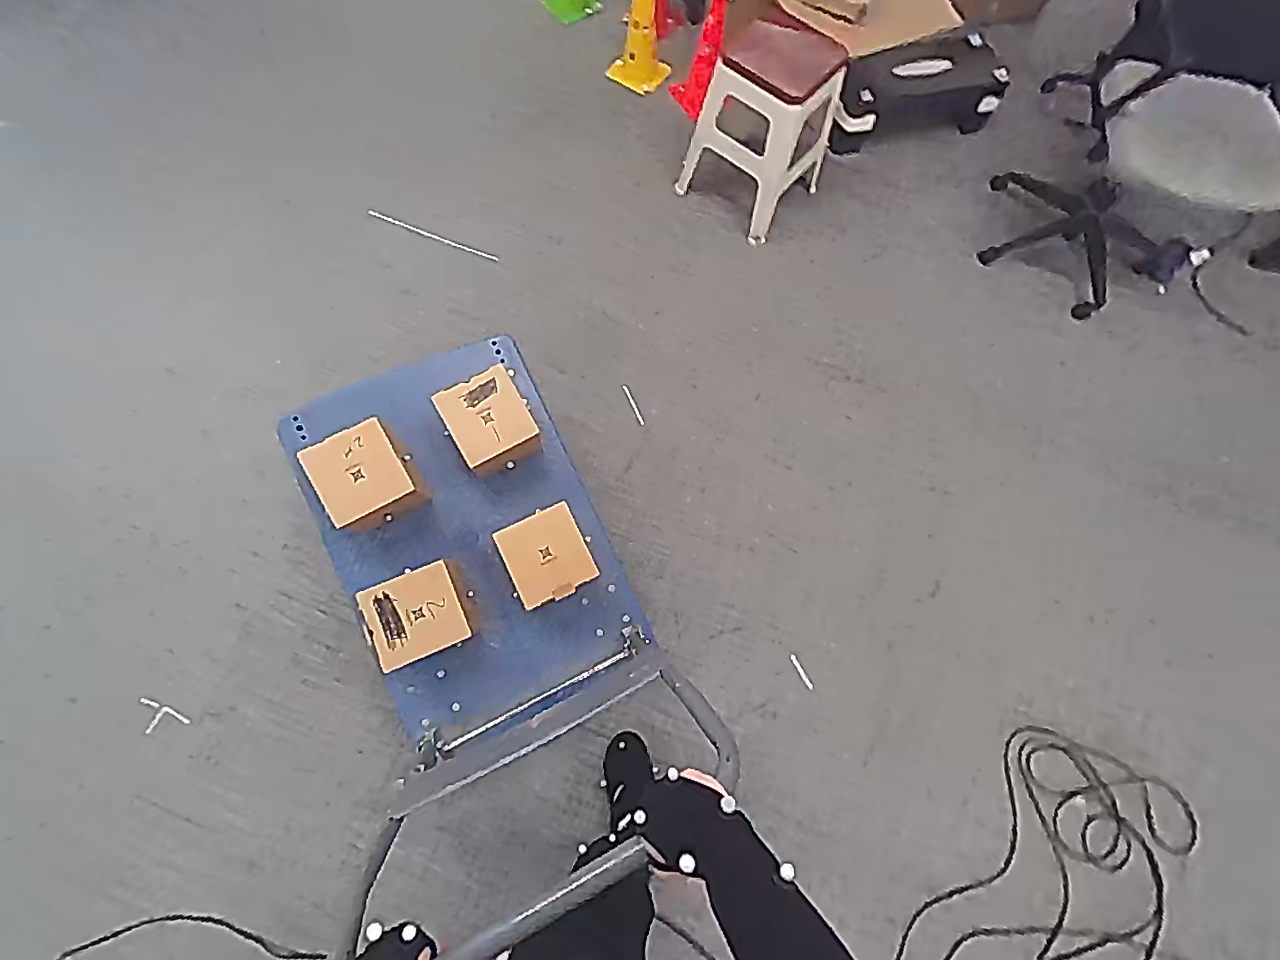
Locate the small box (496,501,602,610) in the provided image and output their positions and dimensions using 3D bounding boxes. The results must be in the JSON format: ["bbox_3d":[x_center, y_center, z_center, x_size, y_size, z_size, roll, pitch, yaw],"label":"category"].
[{"bbox_3d":[-0.200,0.165,1.184,0.168,0.176,0.179,-25,87,-12],"label":"small box"}]

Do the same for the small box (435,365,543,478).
[{"bbox_3d":[-0.331,-0.124,1.208,0.168,0.176,0.179,-29,87,-12],"label":"small box"}]

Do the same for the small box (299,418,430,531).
[{"bbox_3d":[-0.572,-0.004,1.149,0.168,0.176,0.179,-29,87,-13],"label":"small box"}]
